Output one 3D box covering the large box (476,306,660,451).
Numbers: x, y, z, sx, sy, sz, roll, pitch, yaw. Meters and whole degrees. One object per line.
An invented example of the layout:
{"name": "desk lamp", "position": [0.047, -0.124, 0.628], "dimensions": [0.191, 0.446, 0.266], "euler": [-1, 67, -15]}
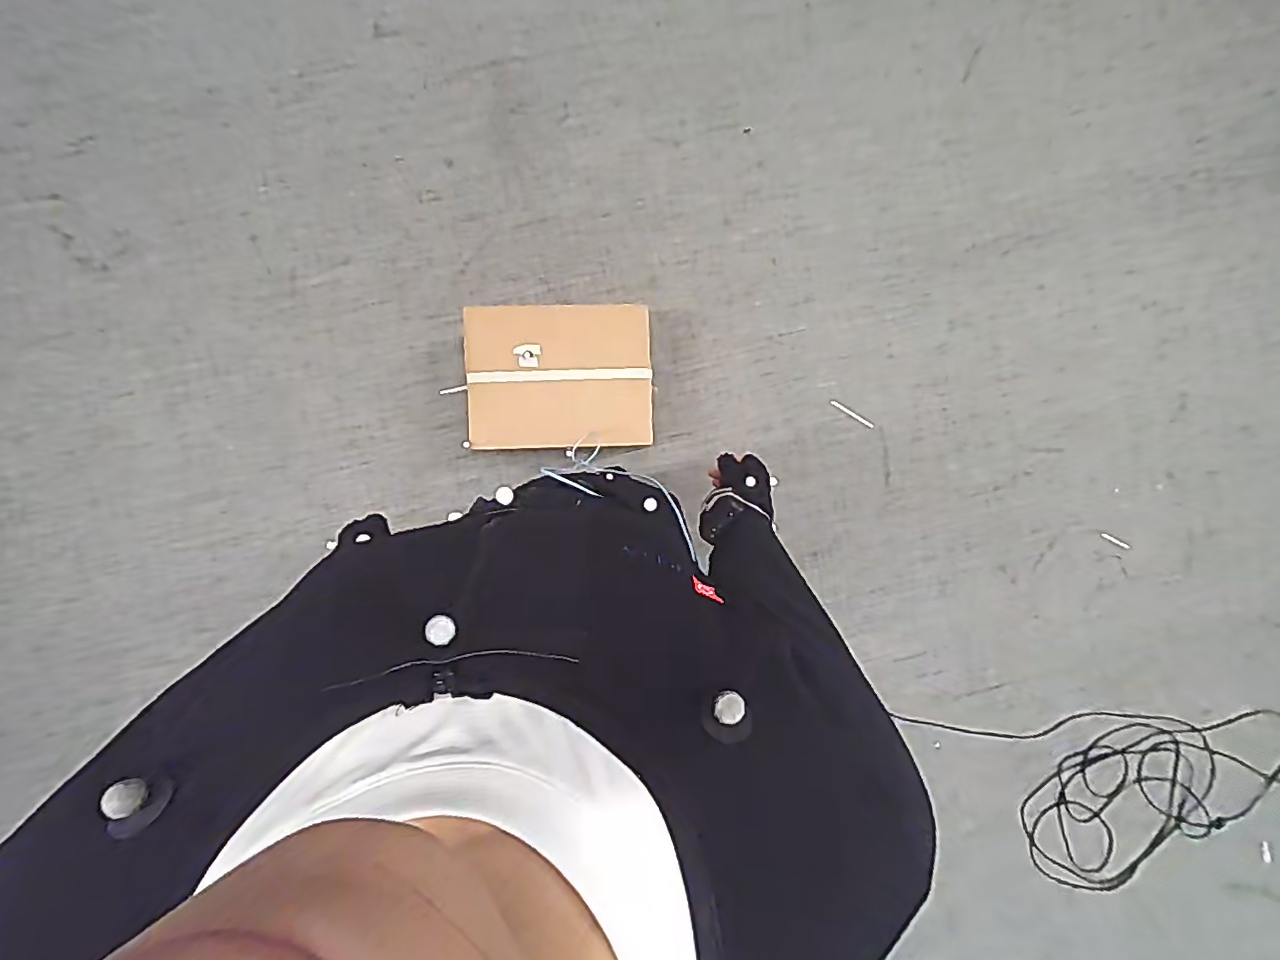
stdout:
{"name": "large box", "position": [-0.162, -0.234, 1.351], "dimensions": [0.408, 0.320, 0.320], "euler": [-2, 92, -2]}
